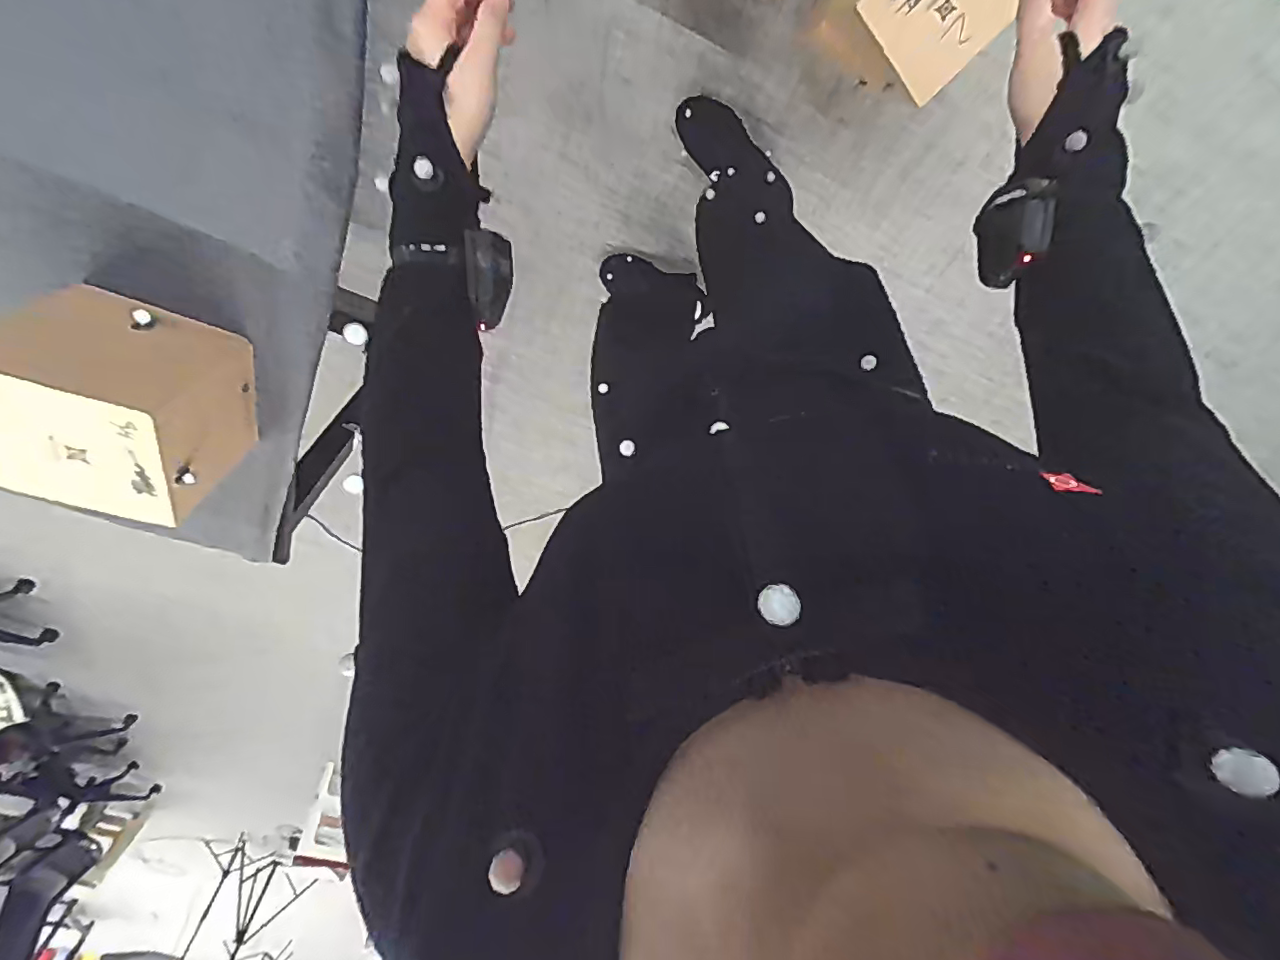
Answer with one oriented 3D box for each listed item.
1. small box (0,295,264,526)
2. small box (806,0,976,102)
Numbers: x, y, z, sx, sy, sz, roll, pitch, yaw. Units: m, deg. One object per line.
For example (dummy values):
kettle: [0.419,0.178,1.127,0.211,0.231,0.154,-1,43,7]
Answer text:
small box: [-0.559,-0.083,0.600,0.179,0.176,0.168,19,128,-12]
small box: [0.411,-0.789,0.914,0.179,0.176,0.168,27,126,-20]
